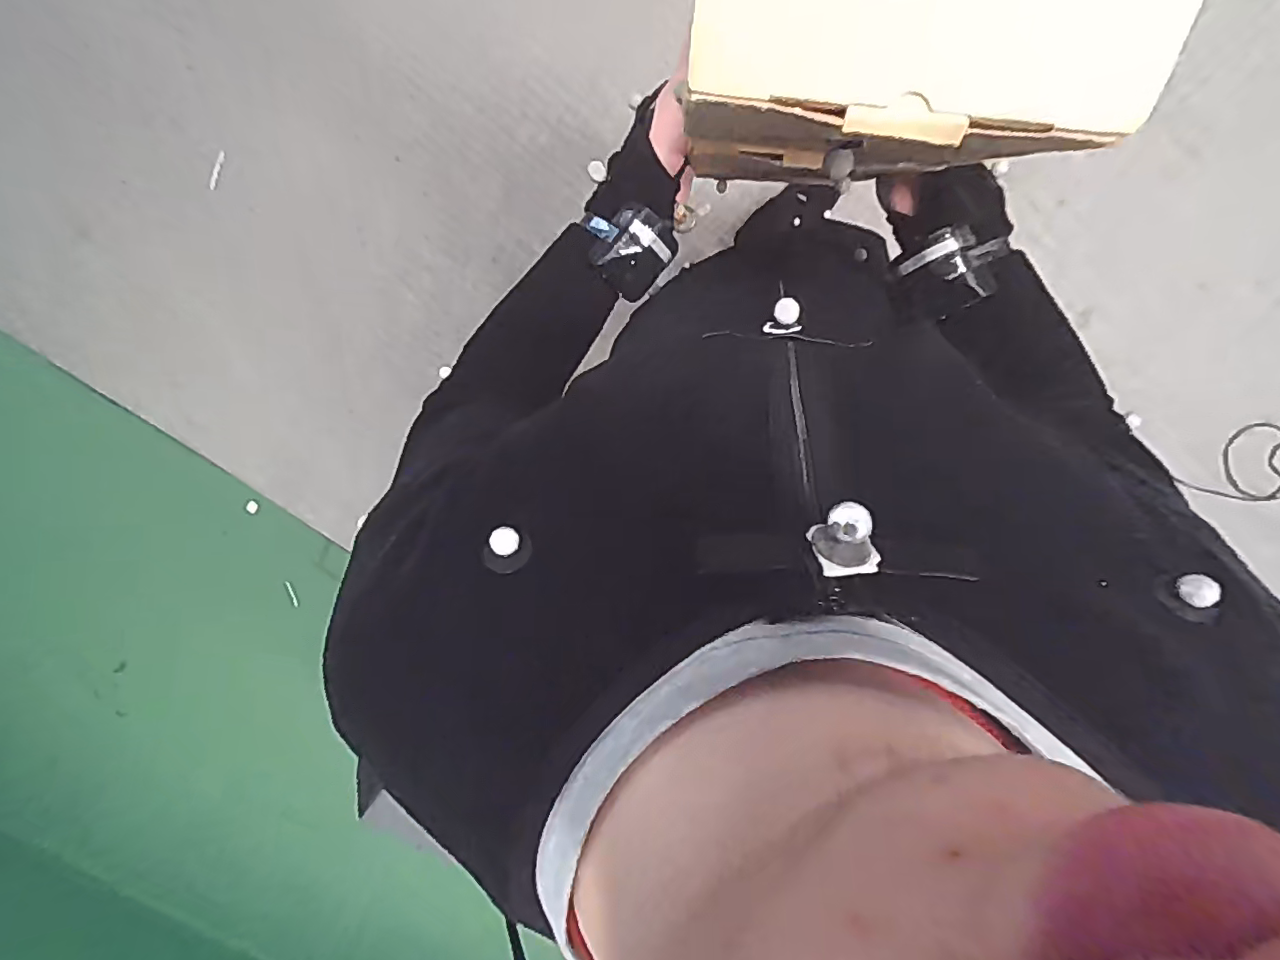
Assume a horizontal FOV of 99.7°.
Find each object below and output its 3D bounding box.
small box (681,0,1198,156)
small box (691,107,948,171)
[{"bbox_3d":[0.113,-0.245,0.225,0.168,0.176,0.179,8,119,1],"label":"small box"},{"bbox_3d":[0.126,-0.318,0.371,0.168,0.176,0.179,5,117,3],"label":"small box"}]
